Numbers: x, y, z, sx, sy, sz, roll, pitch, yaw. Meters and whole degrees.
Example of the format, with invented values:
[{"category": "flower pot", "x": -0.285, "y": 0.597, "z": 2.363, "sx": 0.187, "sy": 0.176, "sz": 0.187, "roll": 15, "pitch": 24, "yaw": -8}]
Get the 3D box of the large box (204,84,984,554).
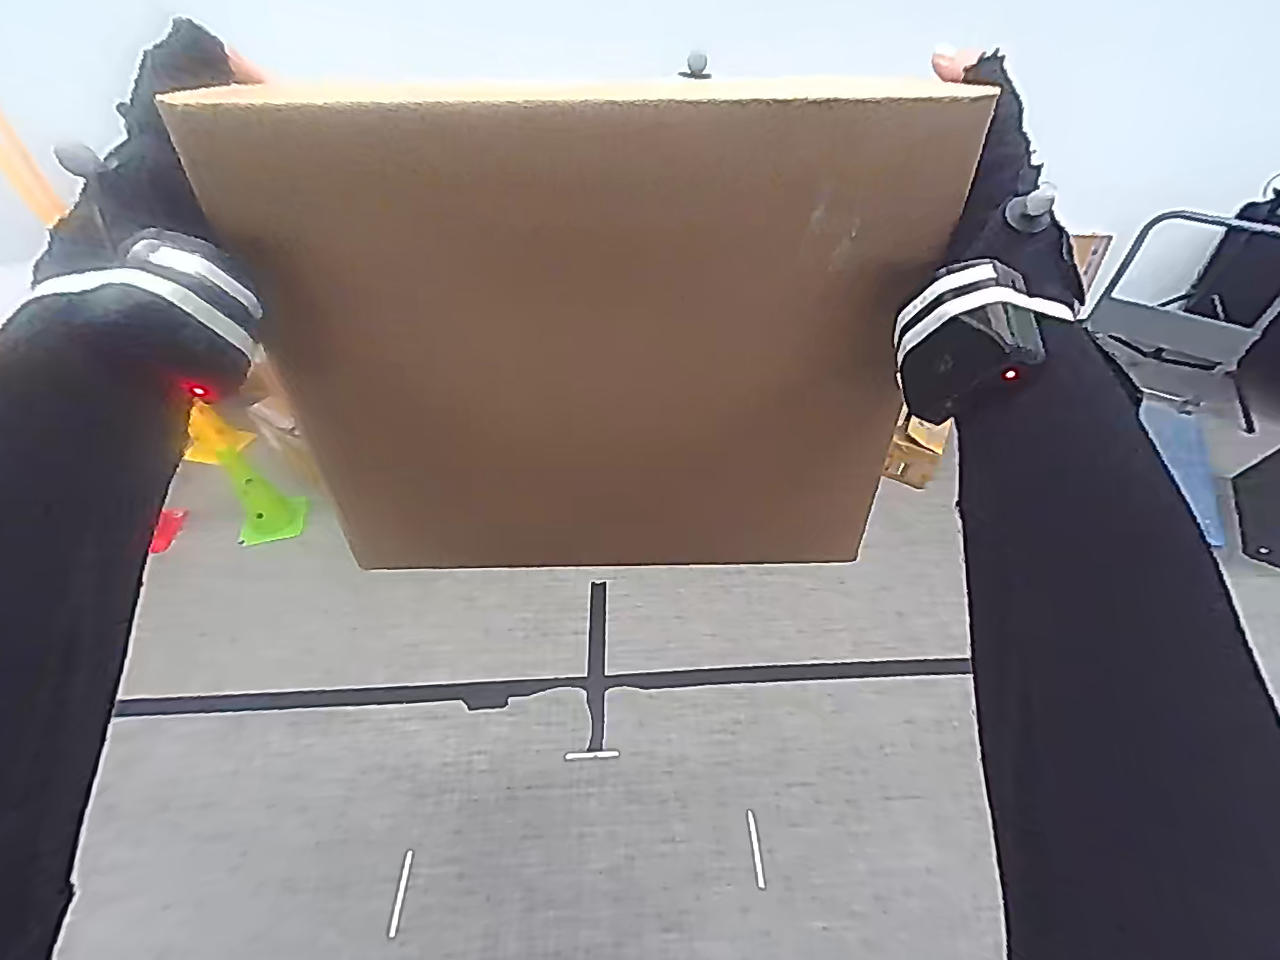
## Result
[{"category": "large box", "x": -0.026, "y": -0.148, "z": 0.476, "sx": 0.408, "sy": 0.320, "sz": 0.320, "roll": 0, "pitch": 36, "yaw": -1}]
